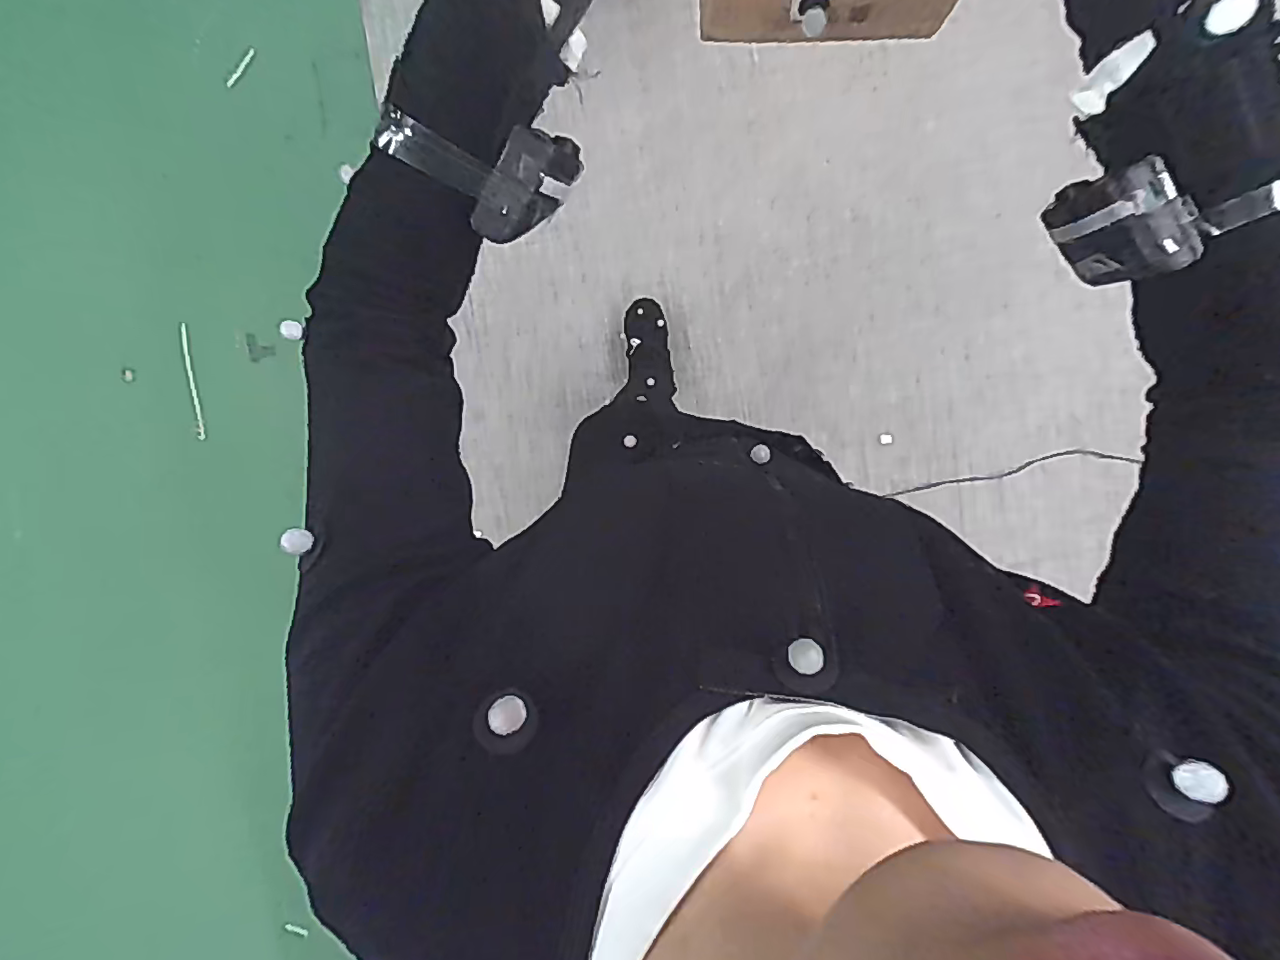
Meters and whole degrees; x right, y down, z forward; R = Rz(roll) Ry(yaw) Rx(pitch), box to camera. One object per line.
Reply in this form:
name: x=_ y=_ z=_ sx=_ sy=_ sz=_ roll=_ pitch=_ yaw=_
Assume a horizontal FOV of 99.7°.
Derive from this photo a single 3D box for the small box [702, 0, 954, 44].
small box: x=0.122 y=-0.388 z=0.293 sx=0.168 sy=0.176 sz=0.179 roll=1 pitch=94 yaw=3
